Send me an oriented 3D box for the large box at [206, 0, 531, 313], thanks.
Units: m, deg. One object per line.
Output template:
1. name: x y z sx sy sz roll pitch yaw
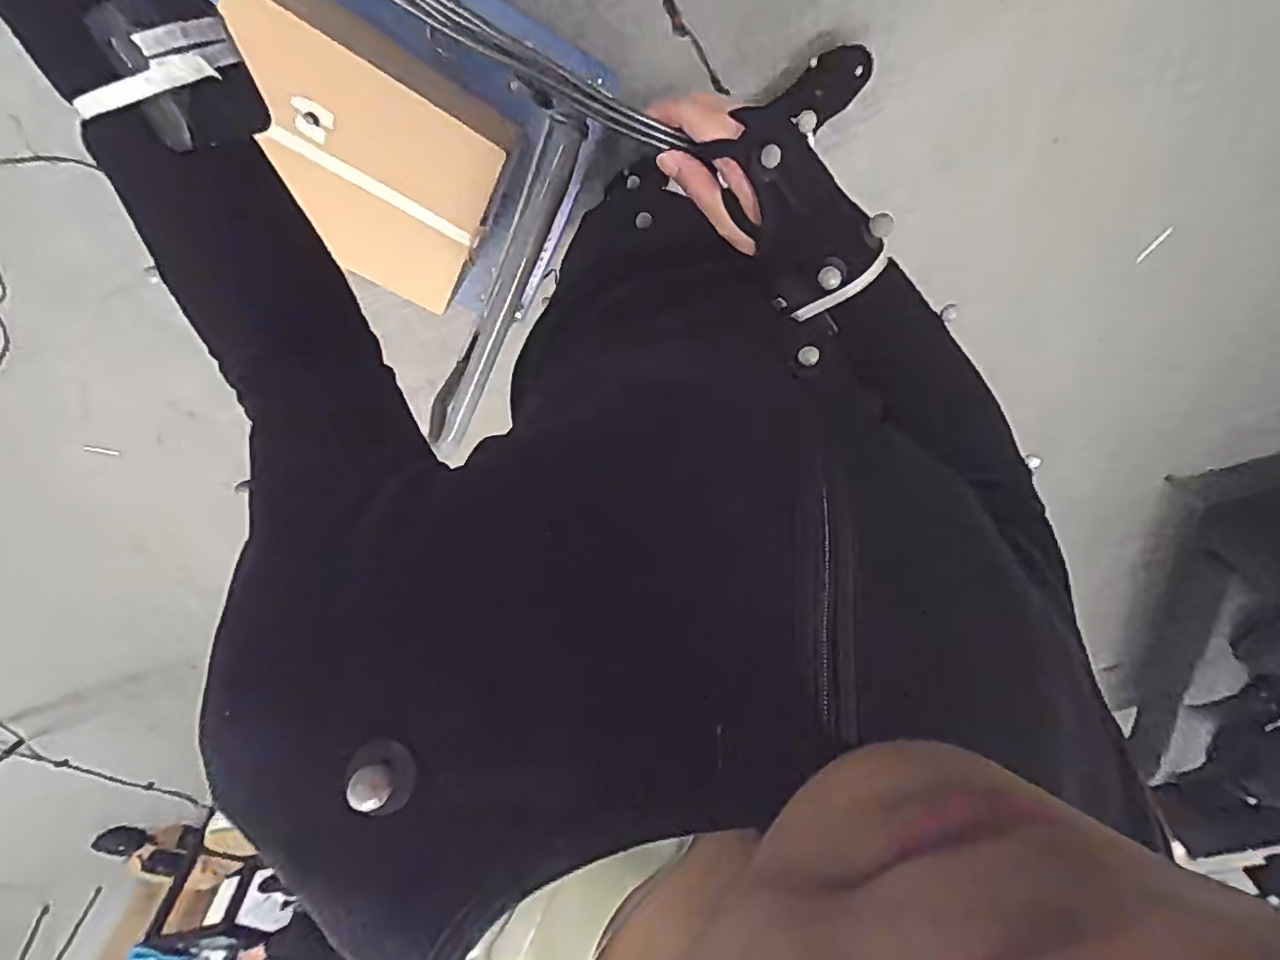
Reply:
1. large box: -0.453 -0.575 0.969 0.408 0.320 0.320 24 122 -20
